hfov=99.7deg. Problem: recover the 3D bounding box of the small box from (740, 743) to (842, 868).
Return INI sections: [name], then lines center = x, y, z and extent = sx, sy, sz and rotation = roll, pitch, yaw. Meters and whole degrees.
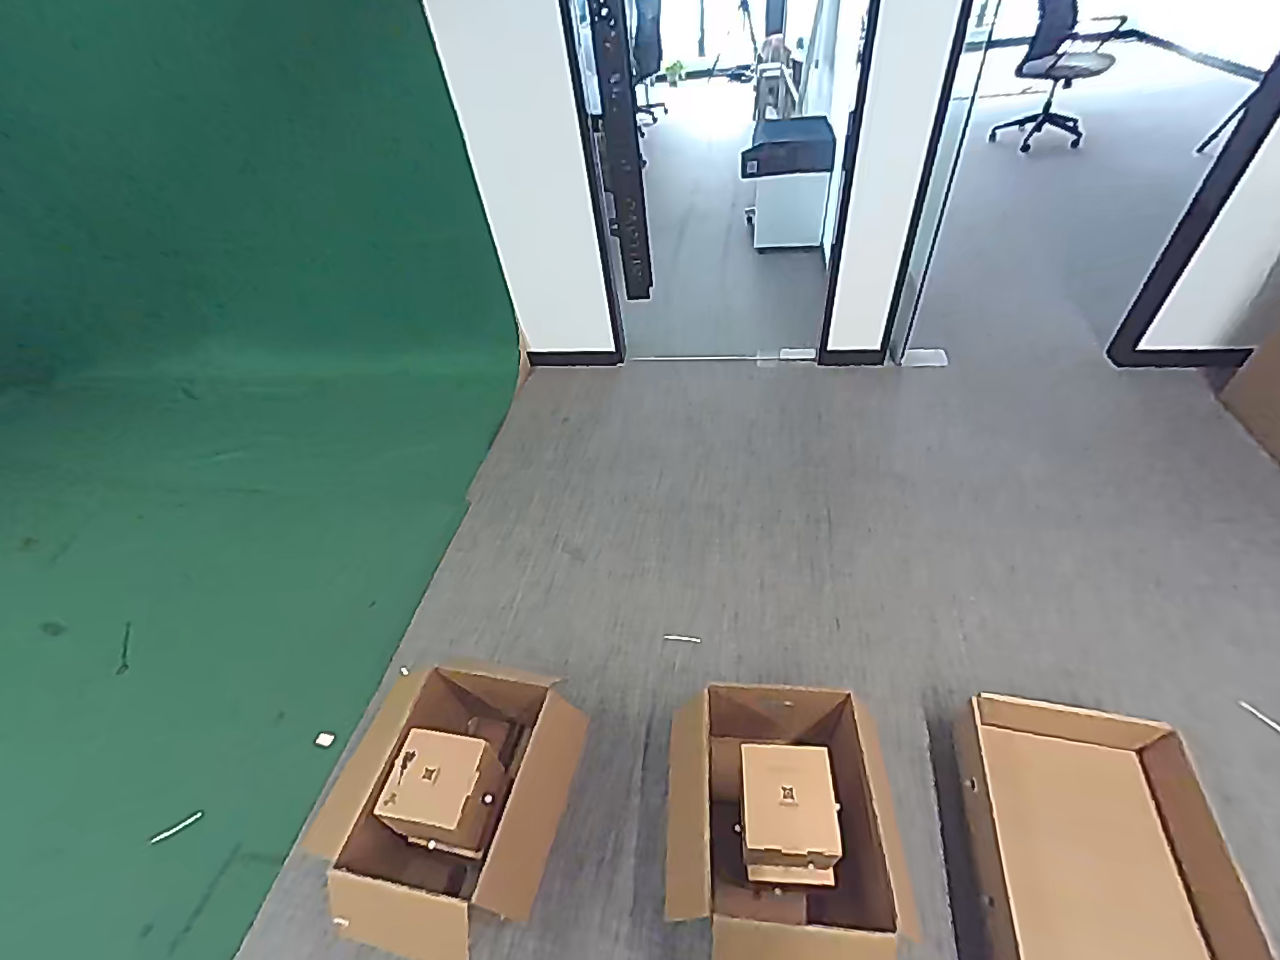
[small box]
center = 0.281, 0.632, 1.047
extent = 0.168, 0.176, 0.179
rotation = 0, 47, 7
